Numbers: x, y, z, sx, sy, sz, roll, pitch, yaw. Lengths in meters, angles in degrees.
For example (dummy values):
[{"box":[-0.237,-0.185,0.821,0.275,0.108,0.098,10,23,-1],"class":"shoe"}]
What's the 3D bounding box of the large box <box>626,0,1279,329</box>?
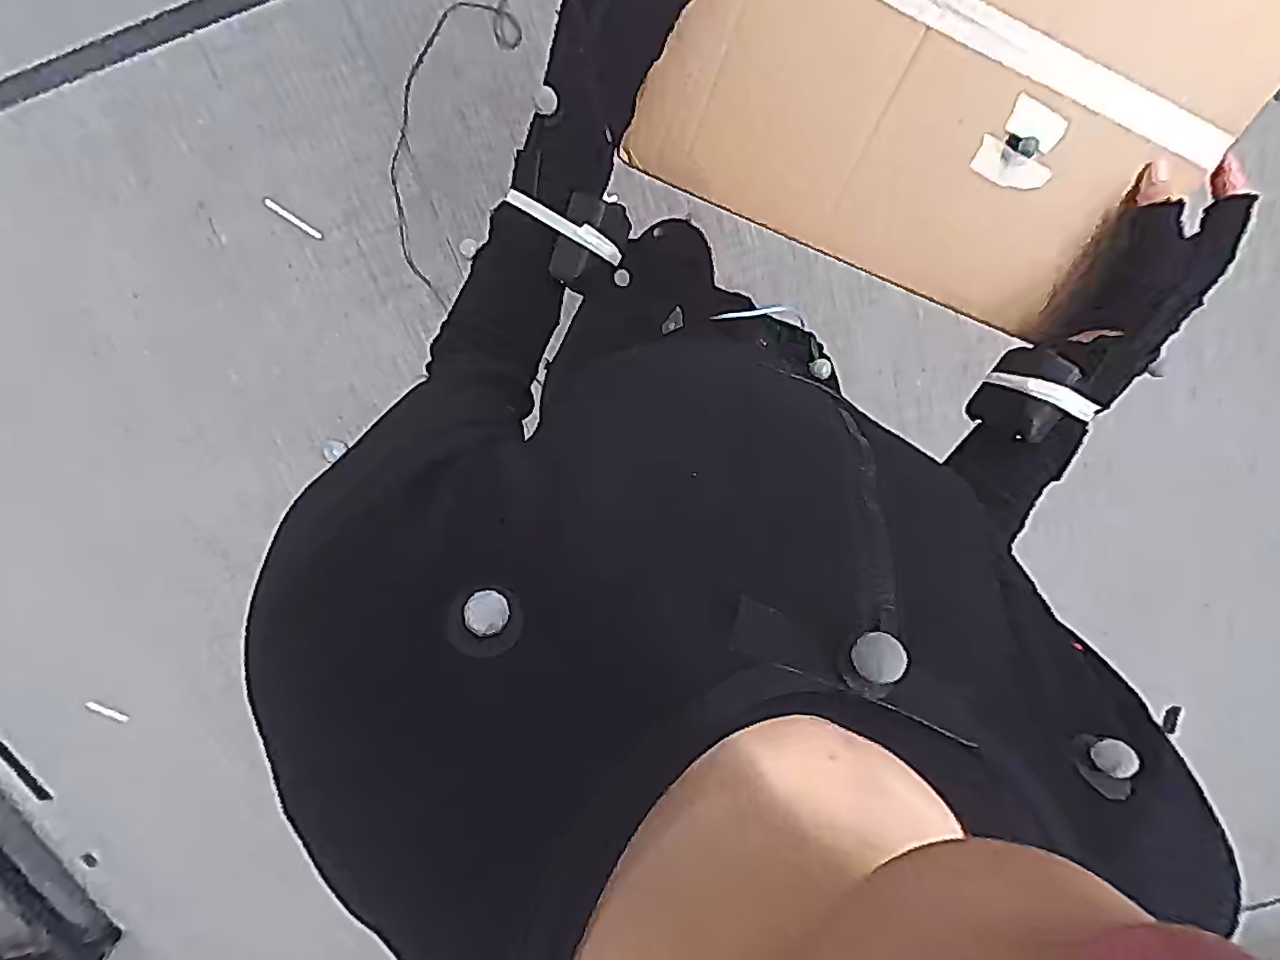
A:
[{"box":[0.226,-0.390,0.493,0.408,0.320,0.320,18,123,-10],"class":"large box"}]
